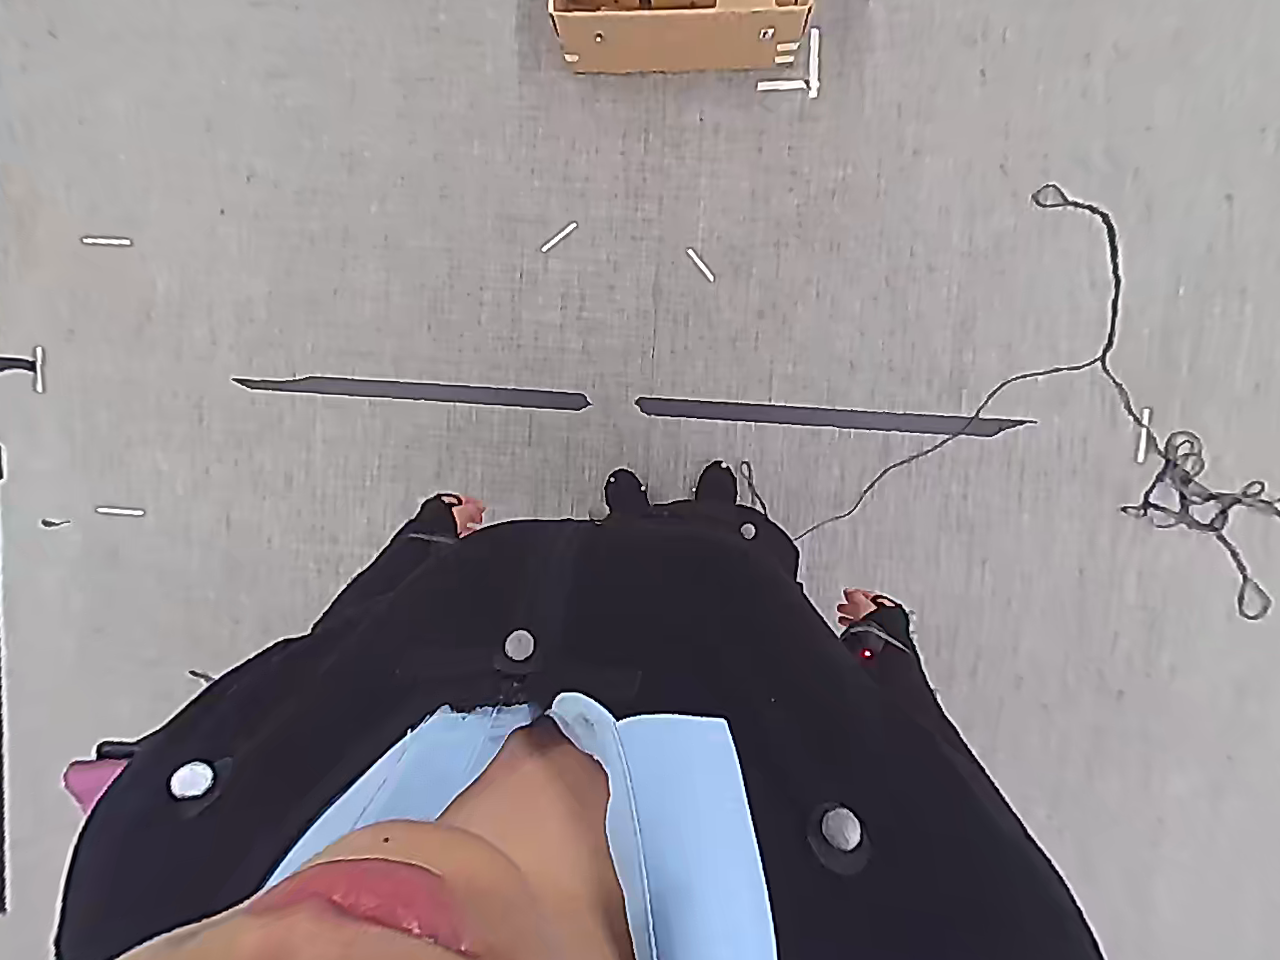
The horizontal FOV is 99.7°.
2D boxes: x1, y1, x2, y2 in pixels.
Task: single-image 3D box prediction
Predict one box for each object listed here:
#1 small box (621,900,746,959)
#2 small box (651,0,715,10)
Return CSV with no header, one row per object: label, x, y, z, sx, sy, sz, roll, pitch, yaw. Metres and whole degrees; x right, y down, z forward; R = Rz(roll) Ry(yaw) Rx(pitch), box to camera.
small box,0.058,0.710,0.711,0.168,0.176,0.179,0,92,6
small box,0.102,-1.277,1.298,0.168,0.176,0.179,-2,93,4
